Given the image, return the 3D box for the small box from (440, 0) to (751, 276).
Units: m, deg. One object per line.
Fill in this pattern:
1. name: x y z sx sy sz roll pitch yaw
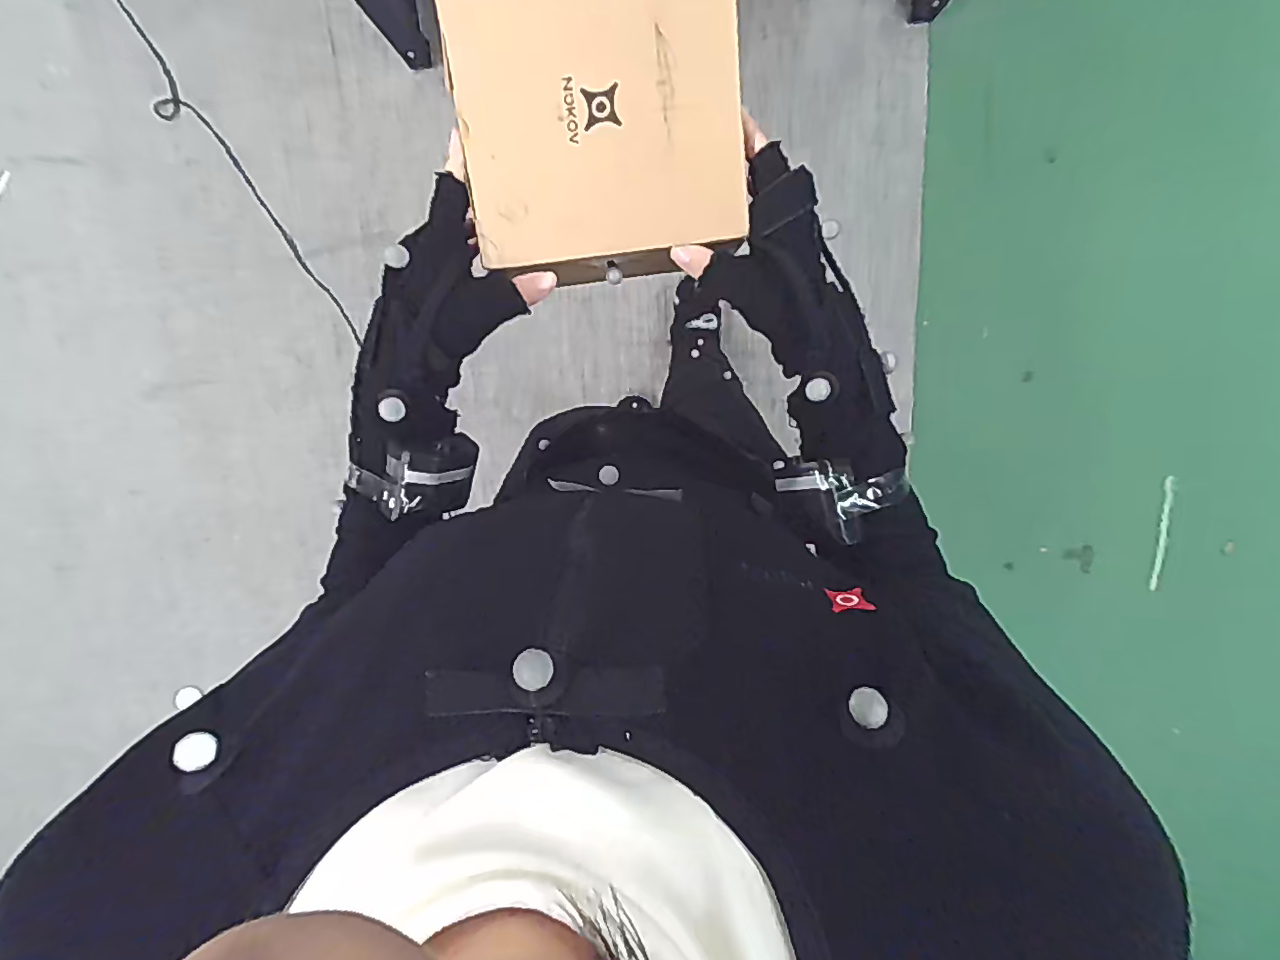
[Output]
1. small box: -0.019 -0.254 0.405 0.179 0.176 0.168 -7 107 5
